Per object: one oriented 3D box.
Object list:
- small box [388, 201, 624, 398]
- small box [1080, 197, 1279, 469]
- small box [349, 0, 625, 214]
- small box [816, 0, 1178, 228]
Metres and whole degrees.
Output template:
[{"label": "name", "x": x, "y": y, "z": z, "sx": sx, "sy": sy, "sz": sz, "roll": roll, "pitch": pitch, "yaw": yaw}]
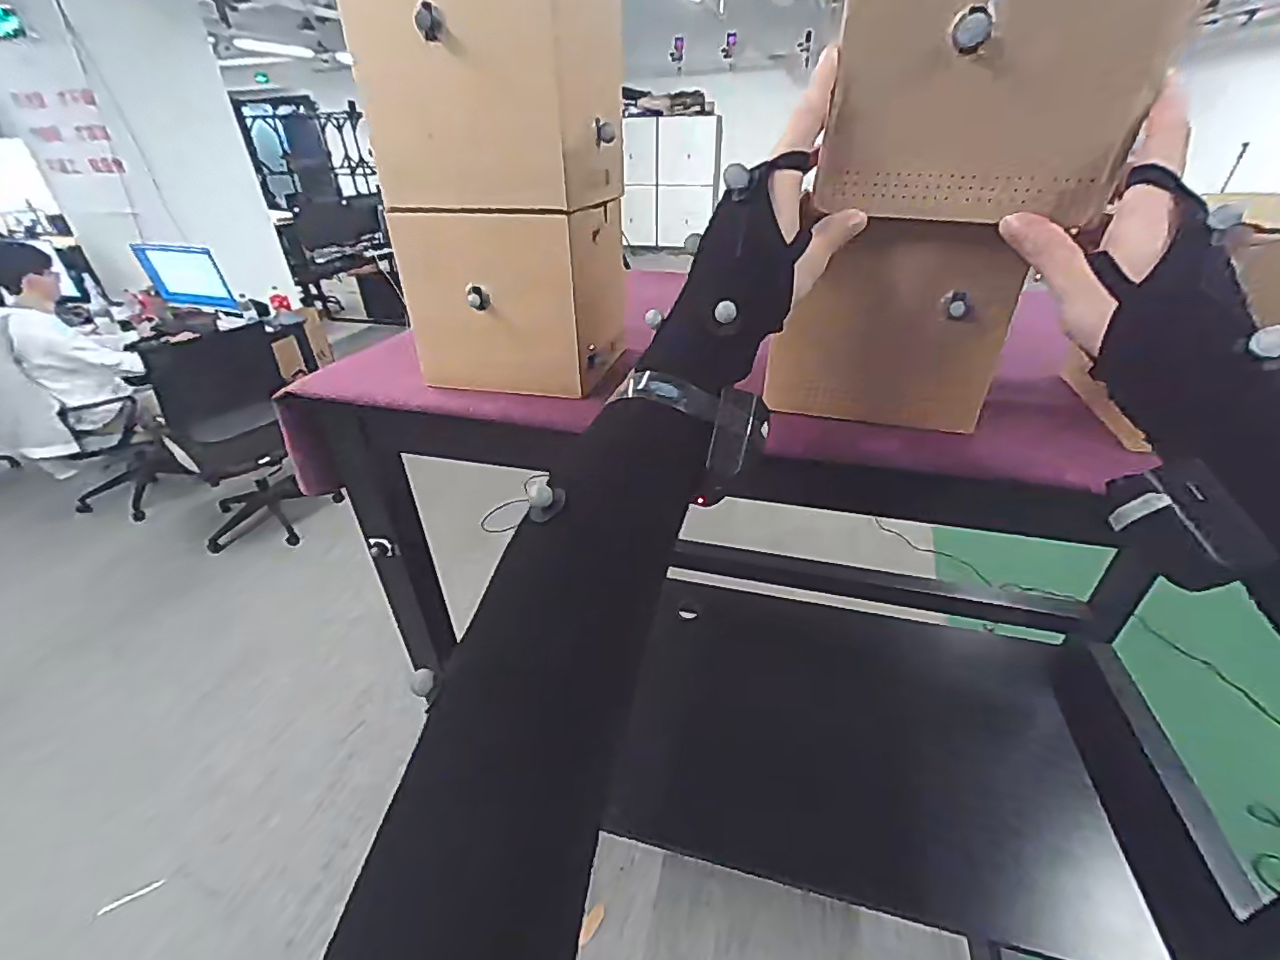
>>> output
[{"label": "small box", "x": -0.119, "y": -0.195, "z": 0.567, "sx": 0.179, "sy": 0.176, "sz": 0.168, "roll": 6, "pitch": 32, "yaw": 12}, {"label": "small box", "x": 0.486, "y": -0.116, "z": 0.420, "sx": 0.179, "sy": 0.176, "sz": 0.168, "roll": 9, "pitch": 36, "yaw": 15}, {"label": "small box", "x": -0.120, "y": -0.335, "z": 0.480, "sx": 0.179, "sy": 0.176, "sz": 0.168, "roll": 8, "pitch": 33, "yaw": 13}, {"label": "small box", "x": 0.224, "y": -0.276, "z": 0.375, "sx": 0.179, "sy": 0.176, "sz": 0.168, "roll": 9, "pitch": 35, "yaw": 15}]
